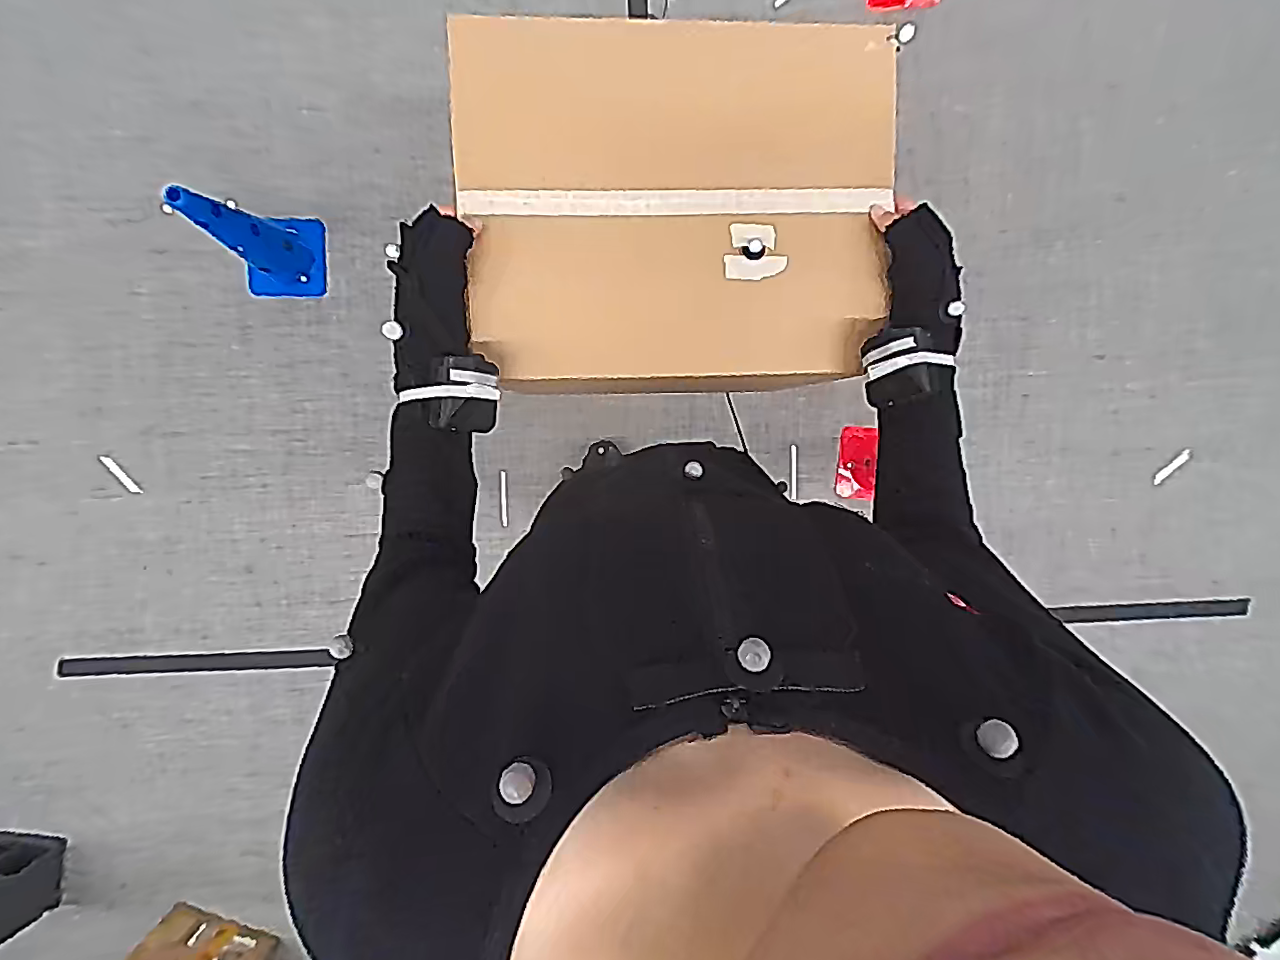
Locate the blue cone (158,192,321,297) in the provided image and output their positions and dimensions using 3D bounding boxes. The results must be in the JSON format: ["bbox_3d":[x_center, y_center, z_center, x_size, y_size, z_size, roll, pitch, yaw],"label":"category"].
[{"bbox_3d":[-0.930,-0.566,1.254,0.192,0.380,0.193,2,94,-1],"label":"blue cone"}]

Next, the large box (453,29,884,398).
[{"bbox_3d":[0.023,-0.270,0.655,0.408,0.320,0.320,-2,96,-4],"label":"large box"}]

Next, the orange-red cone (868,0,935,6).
[{"bbox_3d":[0.687,-1.332,1.239,0.198,0.360,0.199,-4,93,-3],"label":"orange-red cone"}]

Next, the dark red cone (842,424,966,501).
[{"bbox_3d":[0.653,-0.034,1.305,0.201,0.394,0.202,4,94,-1],"label":"dark red cone"}]
